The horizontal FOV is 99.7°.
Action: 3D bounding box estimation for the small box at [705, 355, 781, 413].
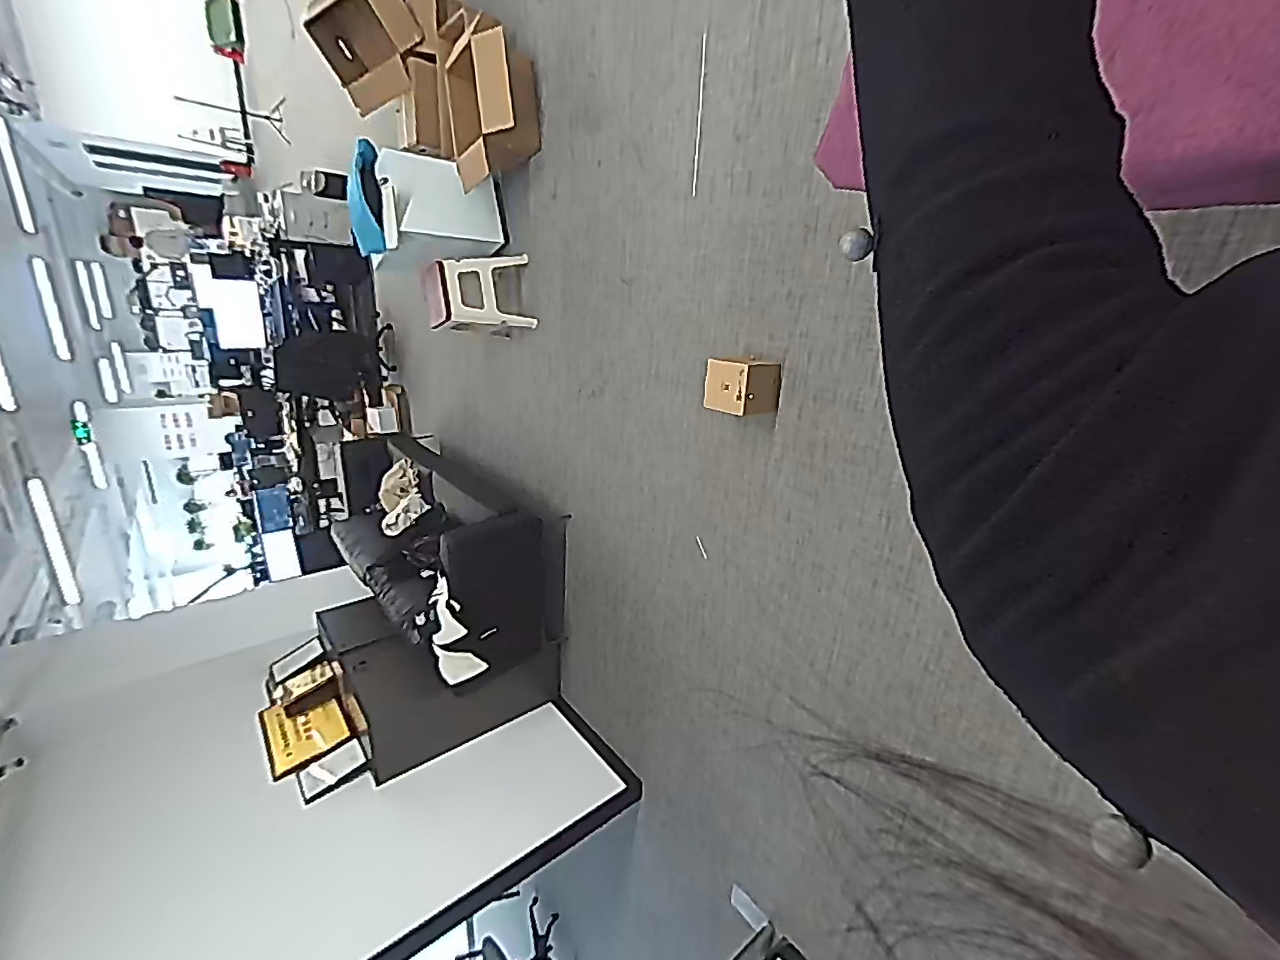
[{"bbox_3d":[0.343,-0.326,1.810,0.179,0.176,0.168,25,118,46],"label":"small box"}]
